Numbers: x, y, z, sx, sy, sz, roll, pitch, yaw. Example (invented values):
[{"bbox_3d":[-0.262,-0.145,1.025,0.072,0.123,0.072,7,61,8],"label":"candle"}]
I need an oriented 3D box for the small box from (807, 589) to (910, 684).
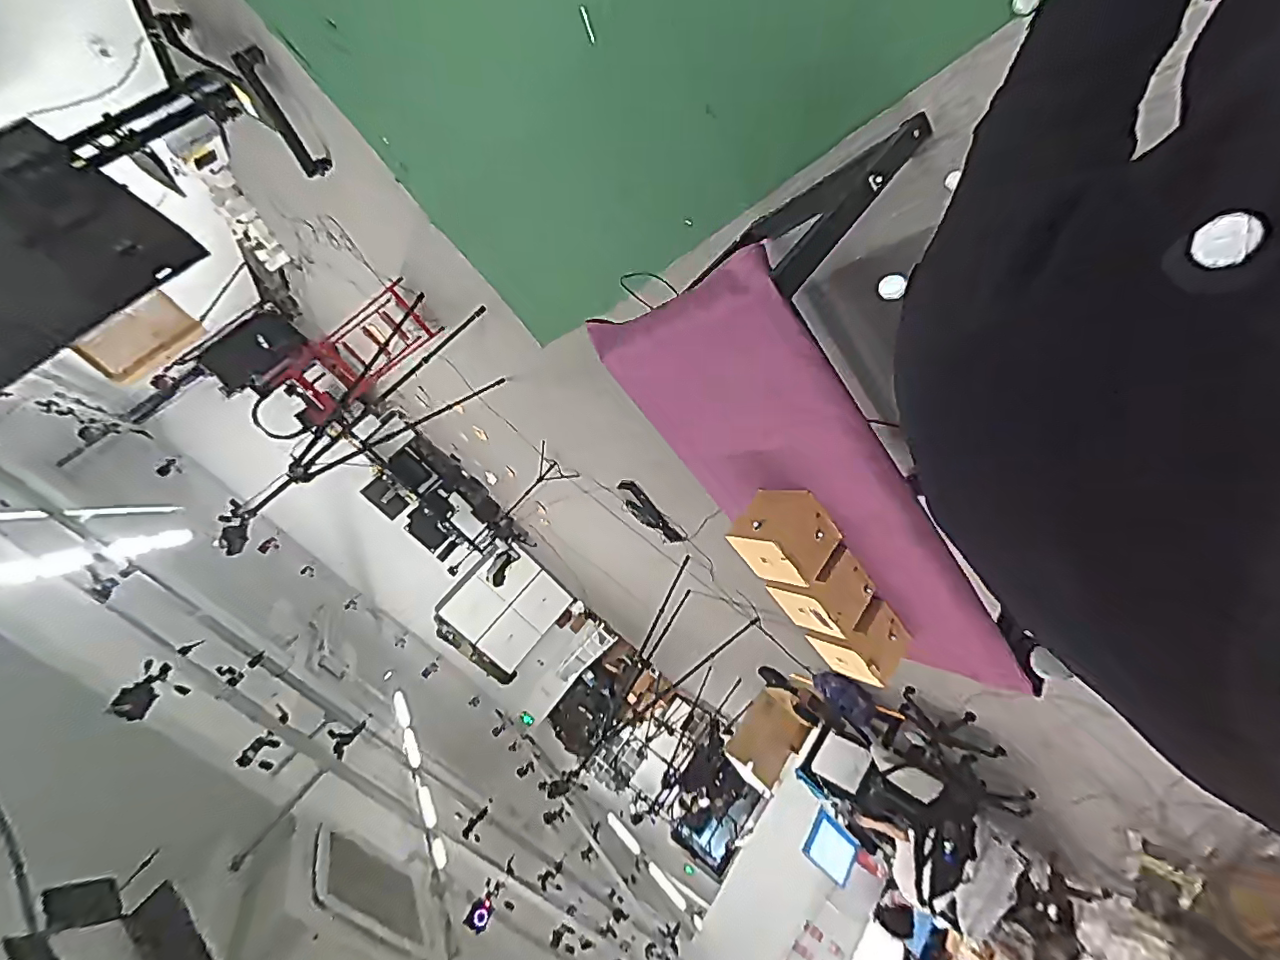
[{"bbox_3d":[0.609,0.426,1.506,0.168,0.176,0.179,49,158,-21],"label":"small box"}]

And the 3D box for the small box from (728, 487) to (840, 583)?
[{"bbox_3d":[0.362,0.129,1.354,0.168,0.176,0.179,50,157,-21],"label":"small box"}]
